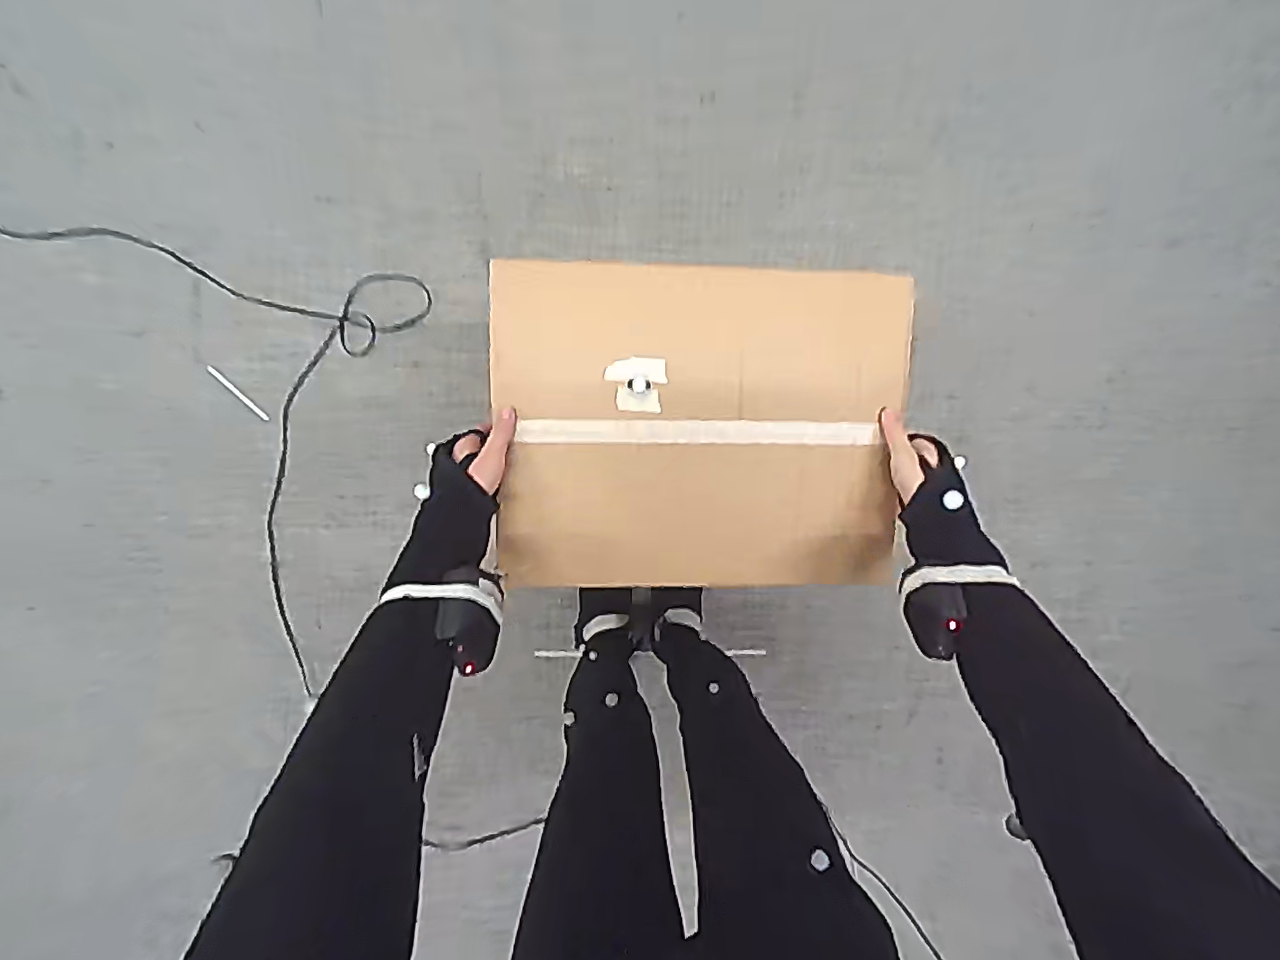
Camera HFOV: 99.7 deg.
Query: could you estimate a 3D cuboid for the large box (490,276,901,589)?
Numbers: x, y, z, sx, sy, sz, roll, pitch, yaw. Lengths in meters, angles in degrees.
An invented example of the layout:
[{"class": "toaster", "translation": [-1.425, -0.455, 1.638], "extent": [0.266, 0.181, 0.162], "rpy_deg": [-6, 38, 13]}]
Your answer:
[{"class": "large box", "translation": [0.049, -0.064, 0.684], "extent": [0.408, 0.320, 0.320], "rpy_deg": [1, 98, -3]}]
